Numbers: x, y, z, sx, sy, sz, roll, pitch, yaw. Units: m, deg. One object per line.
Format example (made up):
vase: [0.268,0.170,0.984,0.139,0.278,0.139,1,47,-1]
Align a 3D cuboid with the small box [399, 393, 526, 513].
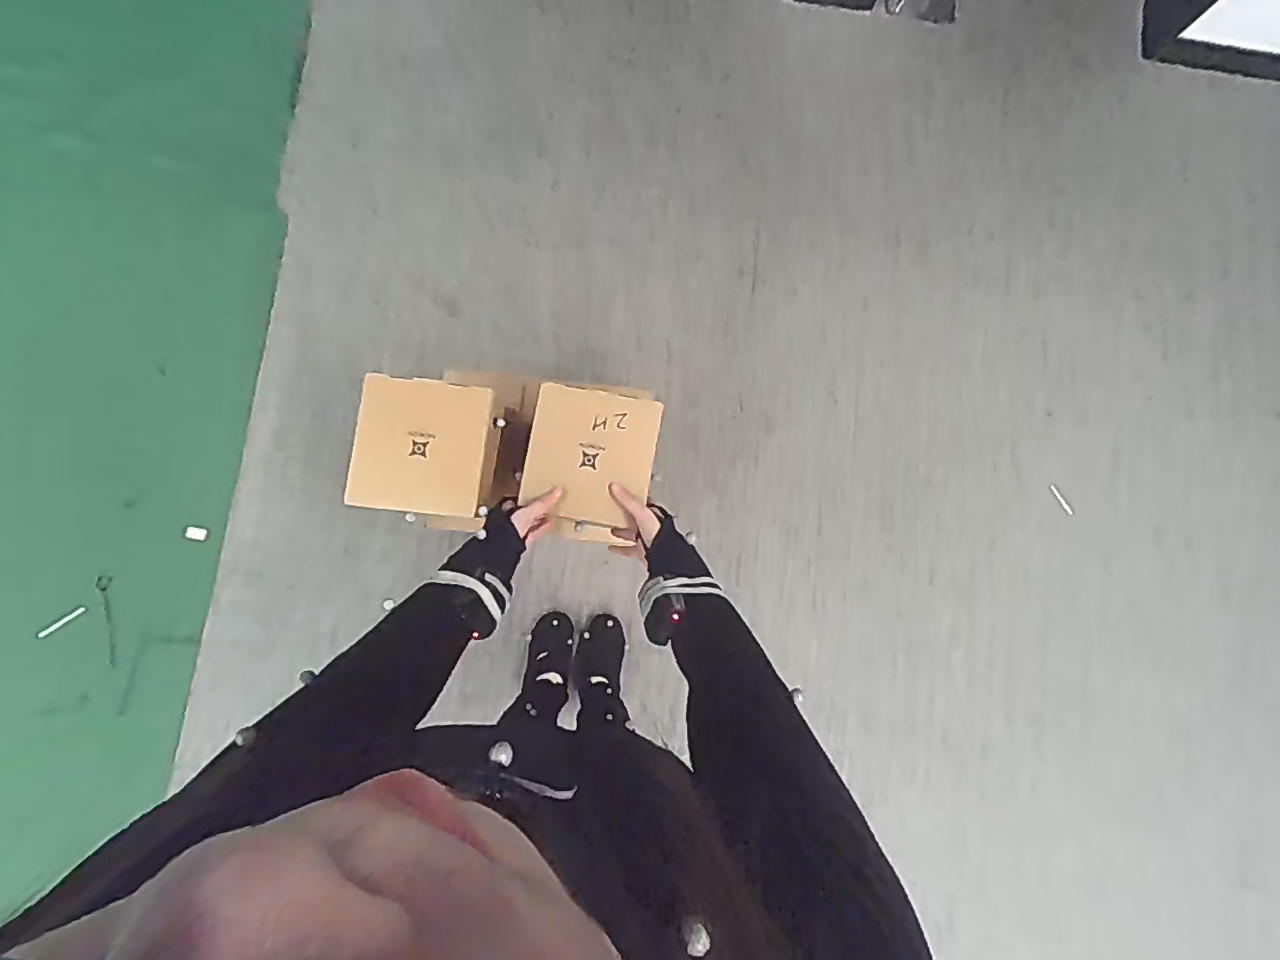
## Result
small box: [-0.301,-0.039,0.955,0.168,0.176,0.179,8,86,-4]

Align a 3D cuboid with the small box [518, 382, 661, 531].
small box: [-0.068,-0.025,0.800,0.168,0.176,0.179,11,84,-1]
